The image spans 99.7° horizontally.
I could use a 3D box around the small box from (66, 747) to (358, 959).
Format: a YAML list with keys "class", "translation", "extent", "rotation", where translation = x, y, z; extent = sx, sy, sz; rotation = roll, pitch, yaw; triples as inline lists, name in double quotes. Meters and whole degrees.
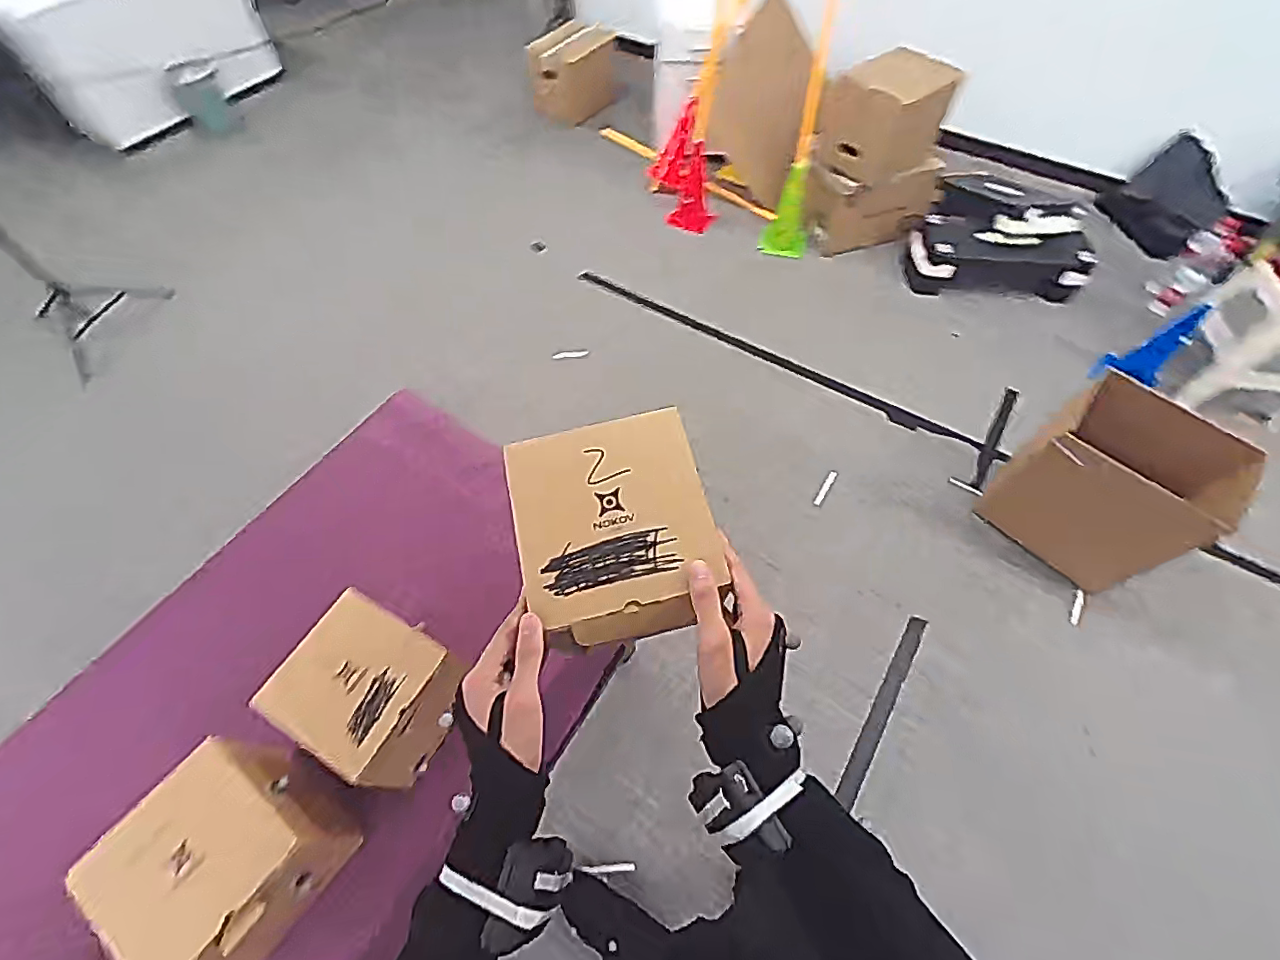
- class: "small box"
  translation: [-0.474, 0.444, 0.630]
  extent: [0.179, 0.176, 0.168]
  rotation: [32, 63, 18]
